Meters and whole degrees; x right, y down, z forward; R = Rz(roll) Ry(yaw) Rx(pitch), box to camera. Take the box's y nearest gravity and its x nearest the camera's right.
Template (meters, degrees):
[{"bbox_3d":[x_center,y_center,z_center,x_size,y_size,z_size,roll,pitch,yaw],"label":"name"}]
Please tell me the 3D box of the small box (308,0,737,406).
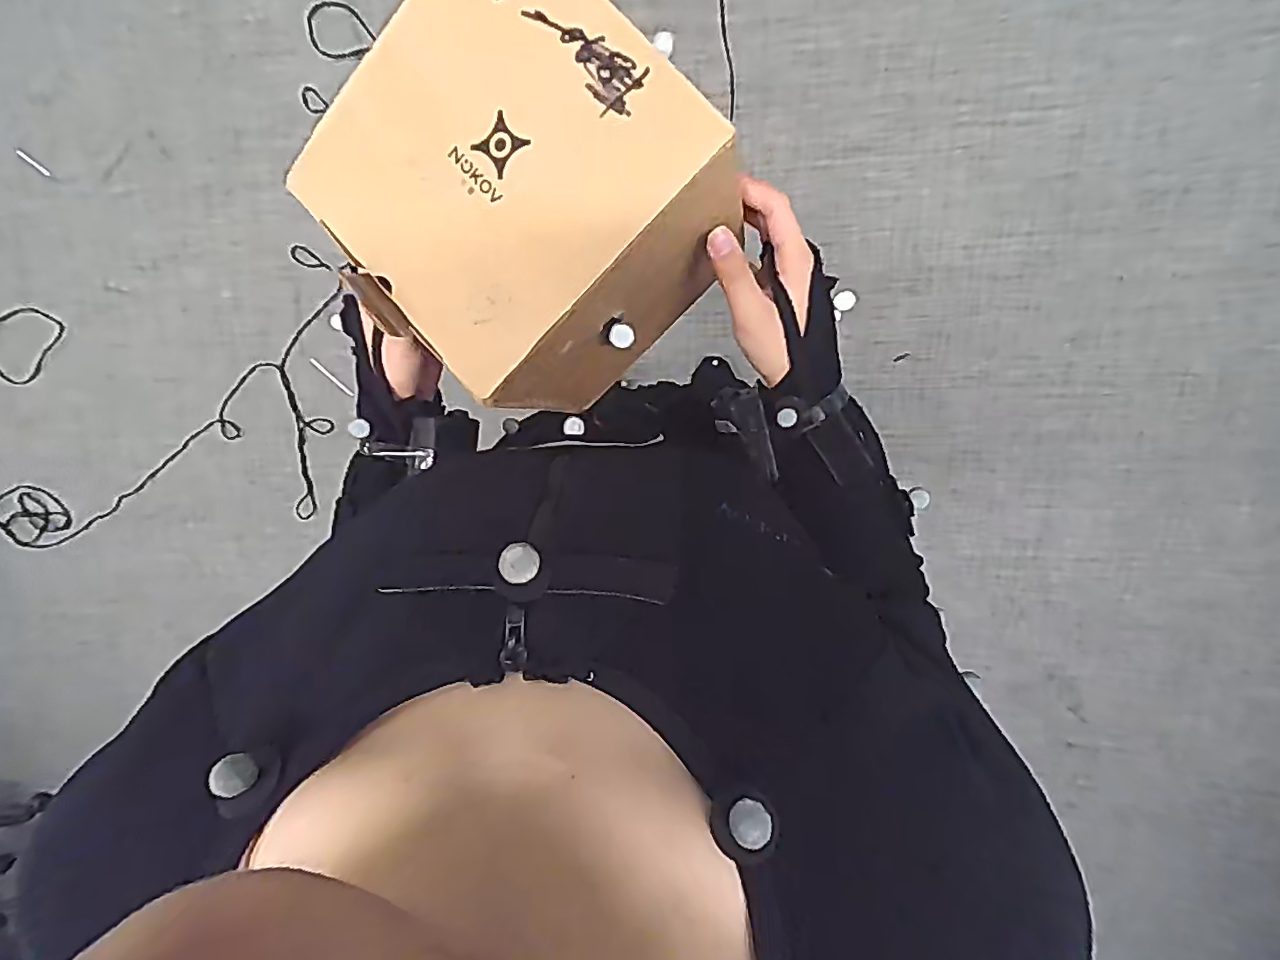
[{"bbox_3d":[-0.053,-0.163,0.349,0.179,0.176,0.168,-44,86,15],"label":"small box"}]
